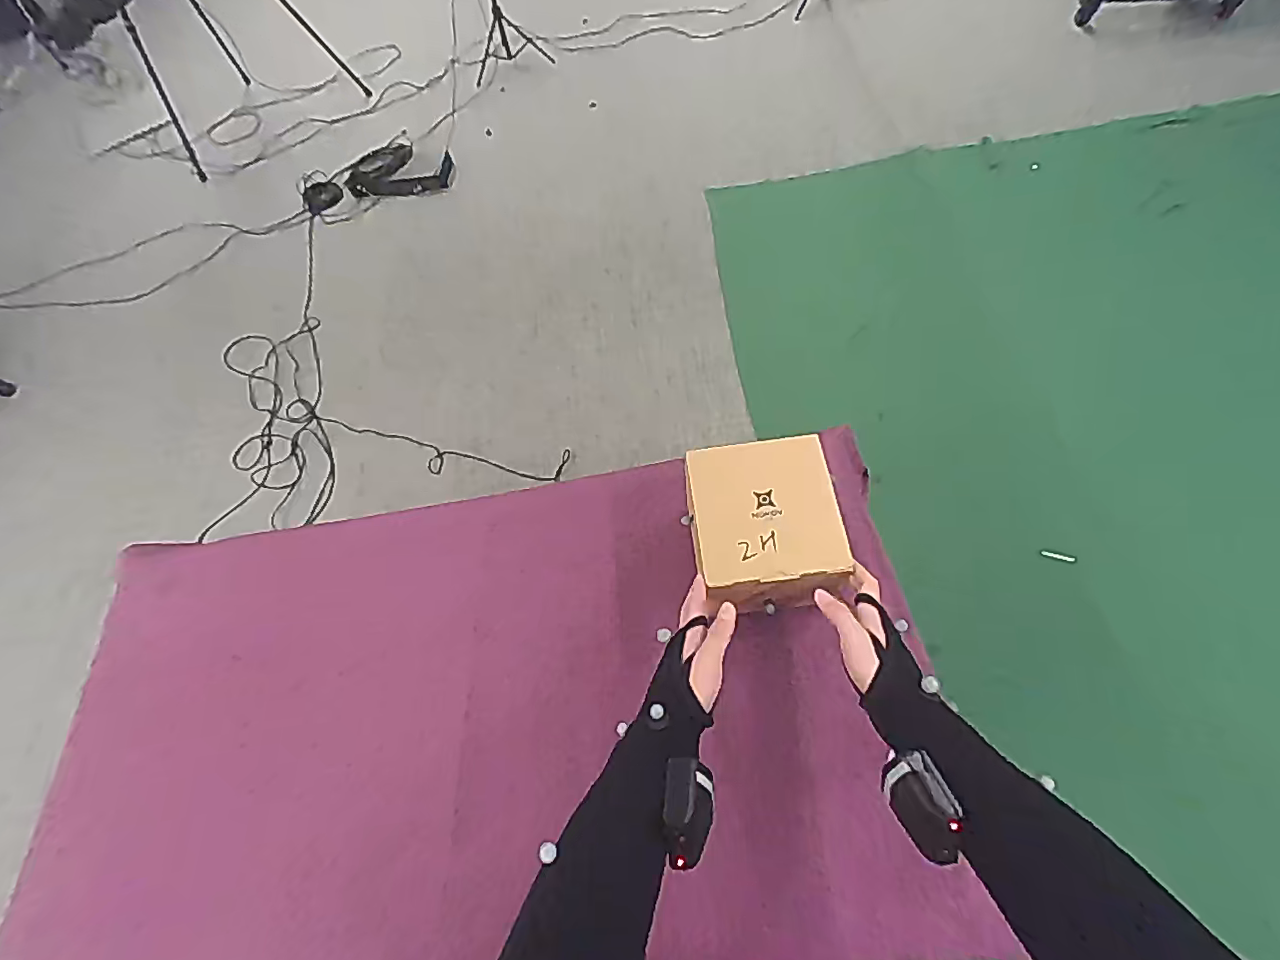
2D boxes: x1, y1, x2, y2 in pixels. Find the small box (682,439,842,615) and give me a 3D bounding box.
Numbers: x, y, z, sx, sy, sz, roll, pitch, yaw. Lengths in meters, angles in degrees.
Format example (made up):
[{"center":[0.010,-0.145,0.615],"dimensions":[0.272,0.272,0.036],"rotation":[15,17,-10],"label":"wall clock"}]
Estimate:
[{"center":[0.146,0.069,0.710],"dimensions":[0.168,0.176,0.179],"rotation":[-8,66,5],"label":"small box"}]
